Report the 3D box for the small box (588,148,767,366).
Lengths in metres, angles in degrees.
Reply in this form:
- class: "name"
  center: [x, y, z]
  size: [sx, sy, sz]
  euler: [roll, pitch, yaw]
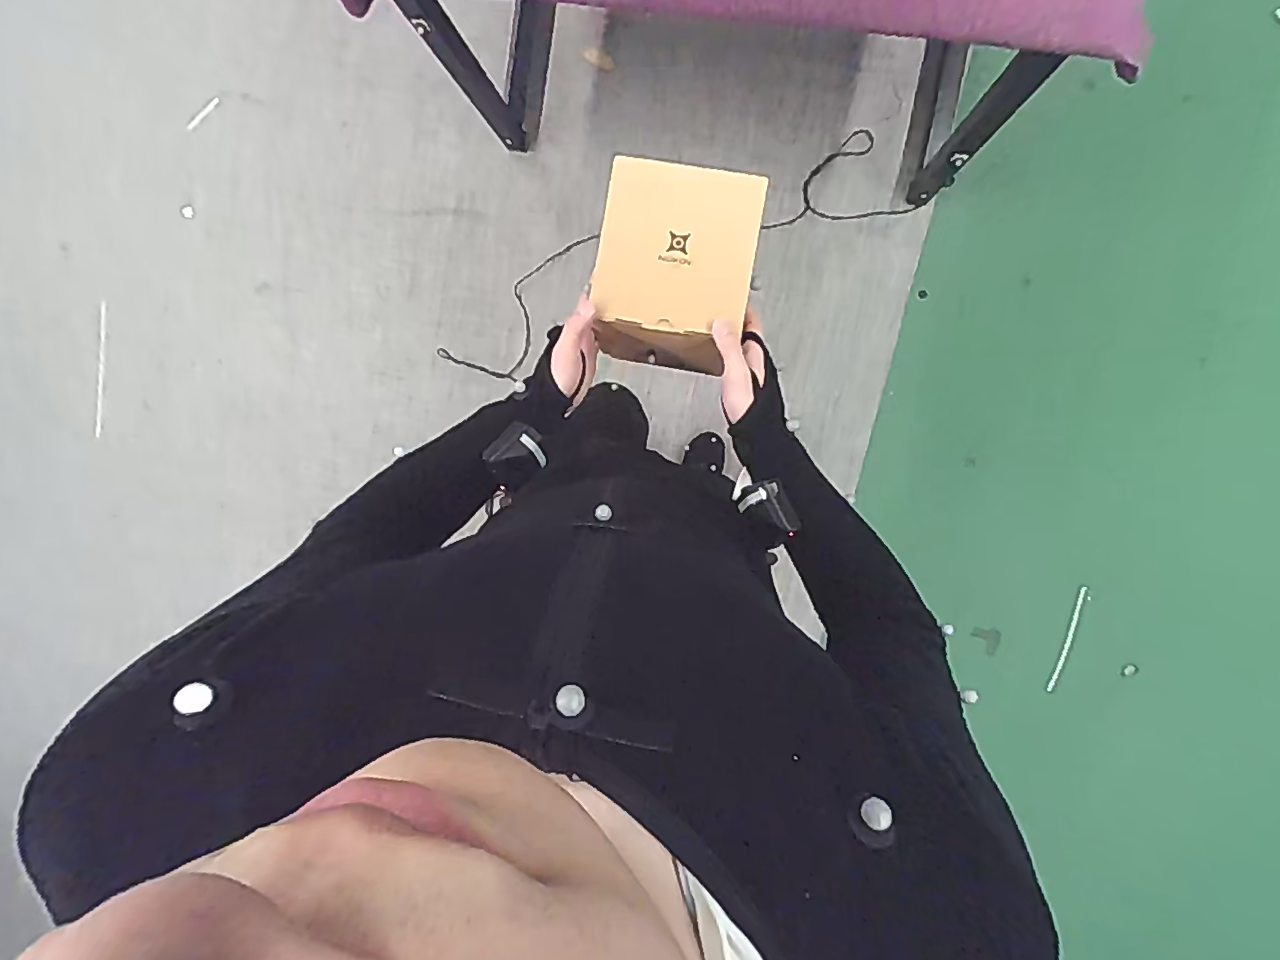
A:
- class: "small box"
  center: [0.041, -0.249, 0.641]
  size: [0.168, 0.176, 0.179]
  euler: [9, 91, 3]
